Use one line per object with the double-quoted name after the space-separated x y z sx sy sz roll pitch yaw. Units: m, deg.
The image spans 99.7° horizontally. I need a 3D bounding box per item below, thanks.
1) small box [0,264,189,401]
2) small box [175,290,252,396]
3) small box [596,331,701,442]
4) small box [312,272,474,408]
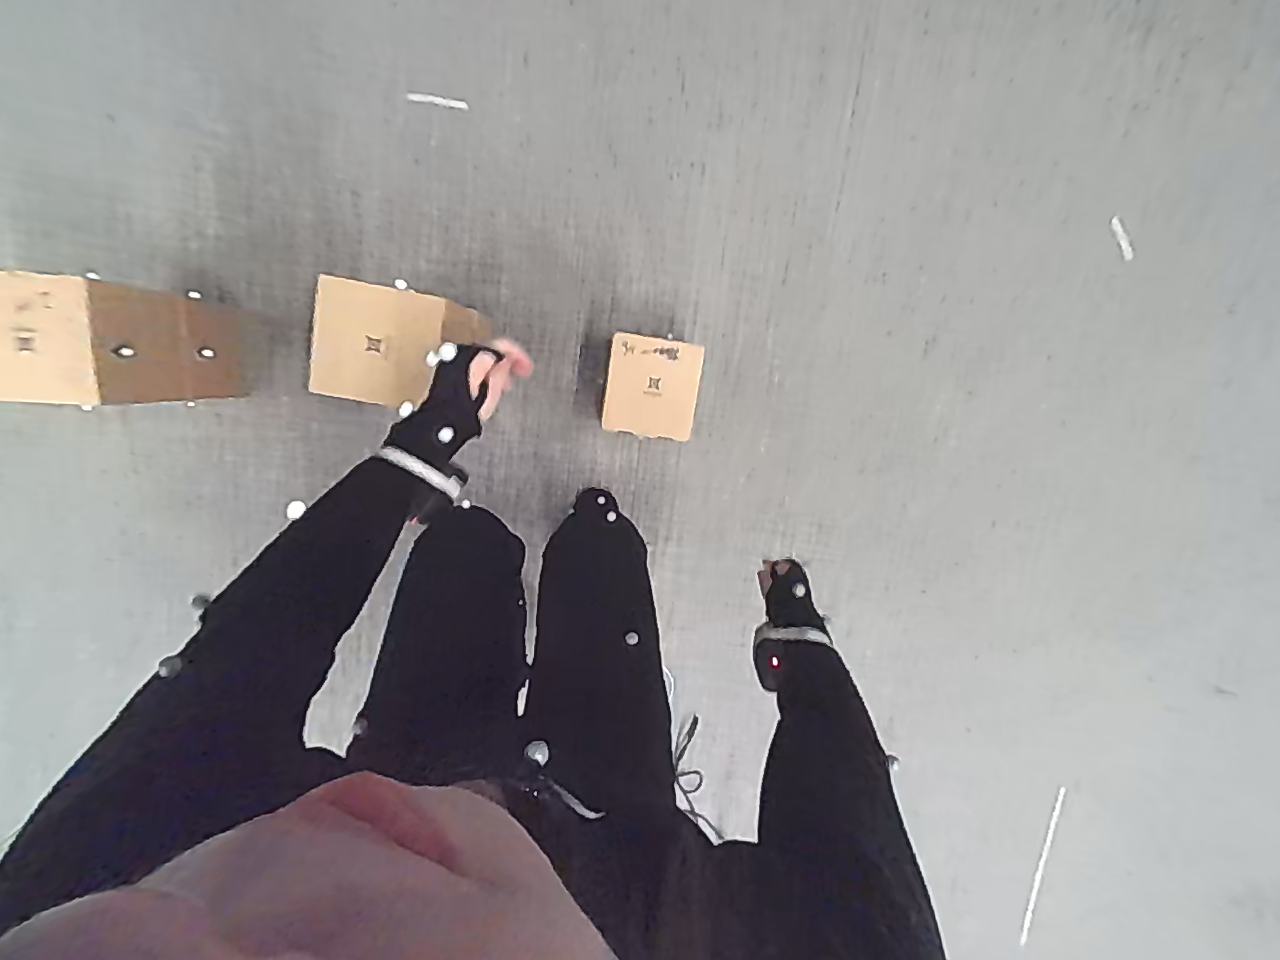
-0.830 -0.217 0.821 0.168 0.176 0.179 4 100 -6 "small box"
-0.840 -0.251 0.982 0.168 0.176 0.179 5 100 -6 "small box"
0.011 -0.183 1.054 0.168 0.176 0.179 9 101 -6 "small box"
-0.378 -0.212 0.854 0.179 0.176 0.168 10 99 -6 "small box"
